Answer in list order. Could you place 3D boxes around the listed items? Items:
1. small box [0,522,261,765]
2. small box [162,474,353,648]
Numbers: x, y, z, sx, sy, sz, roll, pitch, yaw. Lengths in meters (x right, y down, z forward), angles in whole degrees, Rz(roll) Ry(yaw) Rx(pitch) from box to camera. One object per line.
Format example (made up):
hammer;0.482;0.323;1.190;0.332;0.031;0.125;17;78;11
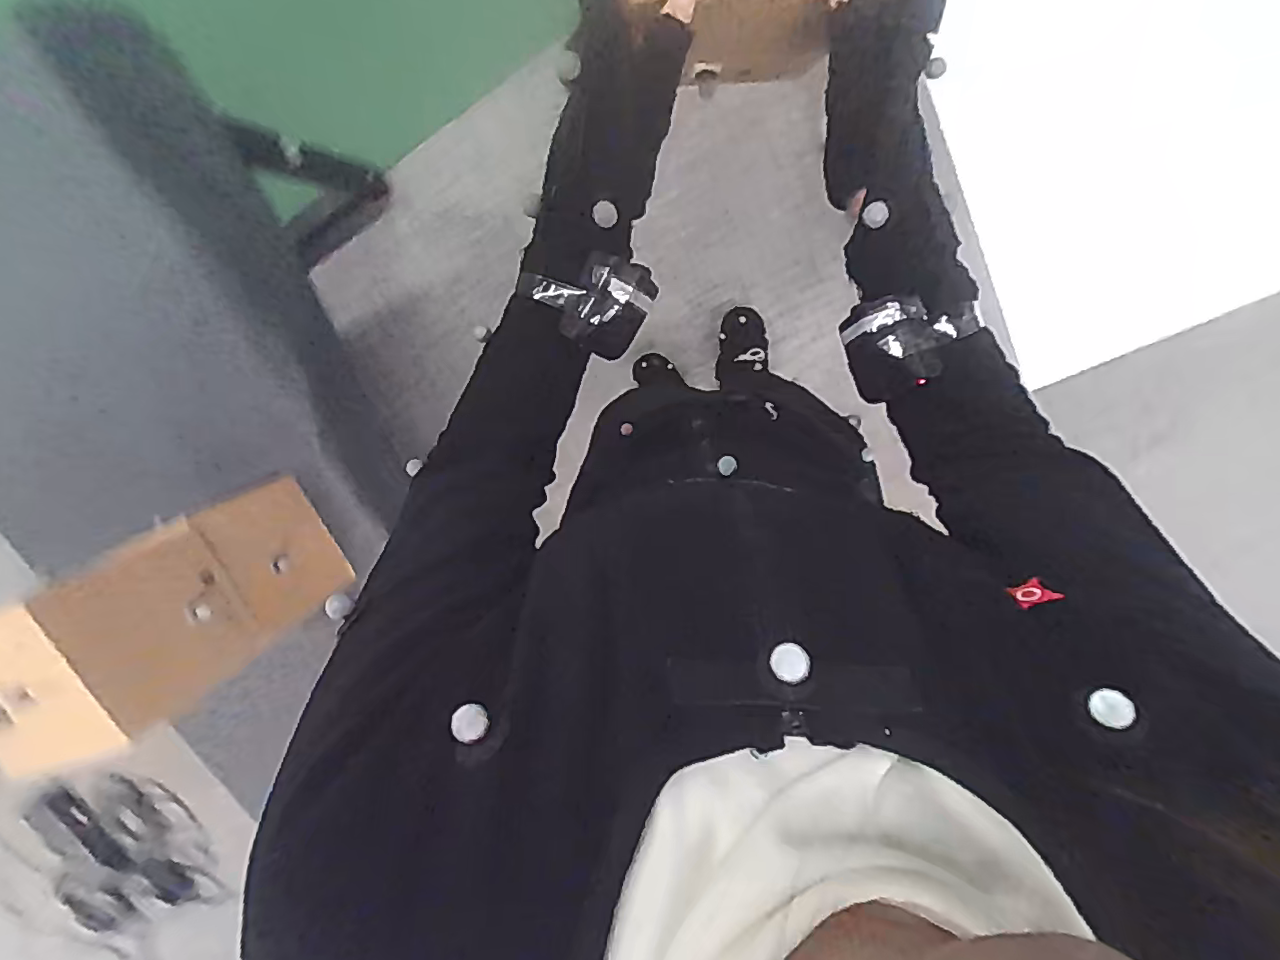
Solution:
small box;-0.574;0.169;0.589;0.179;0.176;0.168;-21;103;18
small box;-0.543;0.116;0.742;0.168;0.176;0.179;-22;104;16
